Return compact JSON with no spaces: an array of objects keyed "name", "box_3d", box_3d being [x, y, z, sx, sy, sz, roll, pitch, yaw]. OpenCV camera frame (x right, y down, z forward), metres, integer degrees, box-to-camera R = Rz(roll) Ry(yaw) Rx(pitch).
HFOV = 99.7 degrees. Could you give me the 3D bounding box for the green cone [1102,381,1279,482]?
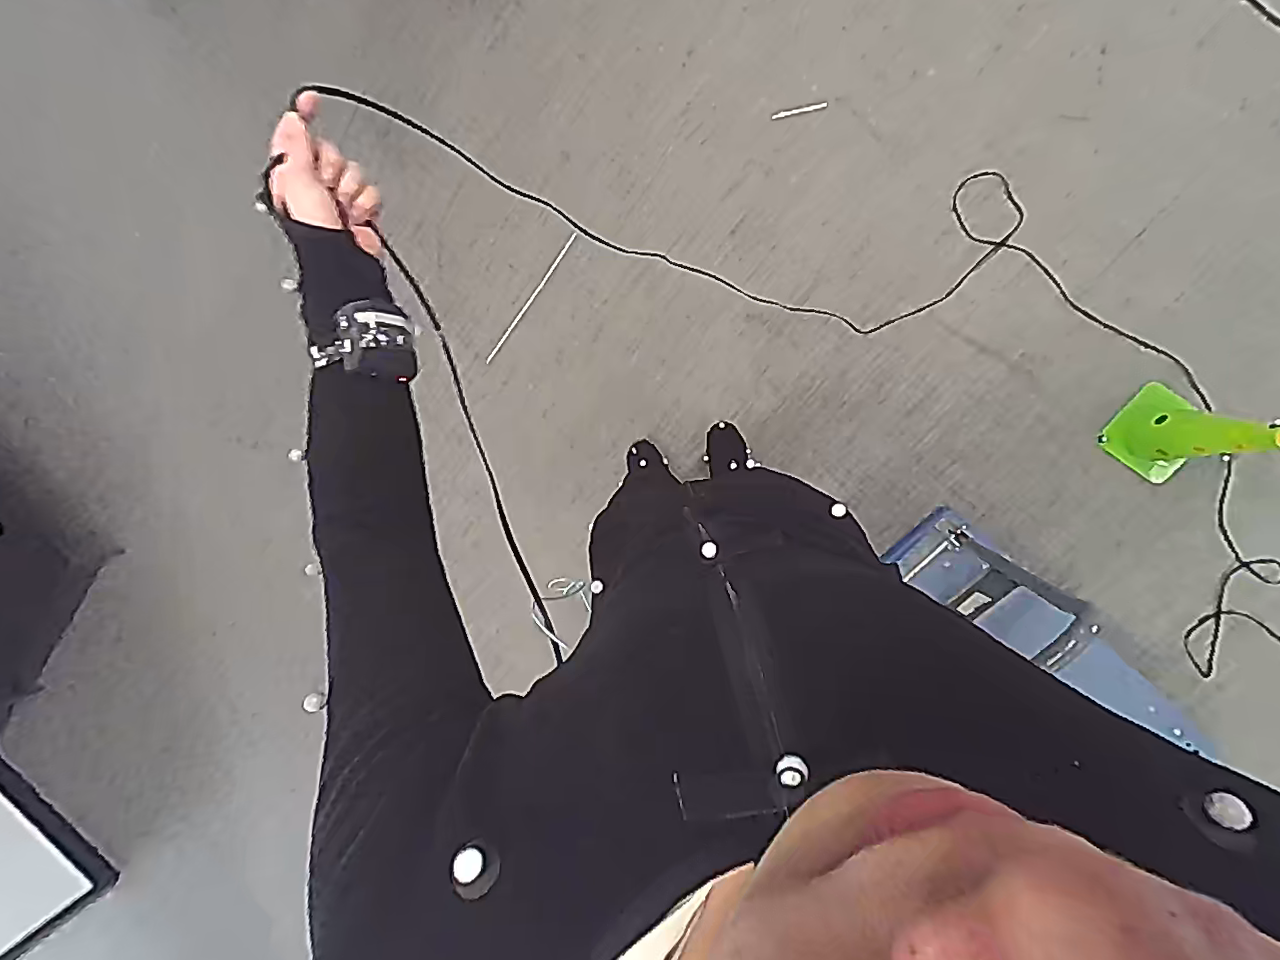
[{"name":"green cone","box_3d":[1.288,-0.103,1.202,0.200,0.368,0.202,37,101,4]}]
